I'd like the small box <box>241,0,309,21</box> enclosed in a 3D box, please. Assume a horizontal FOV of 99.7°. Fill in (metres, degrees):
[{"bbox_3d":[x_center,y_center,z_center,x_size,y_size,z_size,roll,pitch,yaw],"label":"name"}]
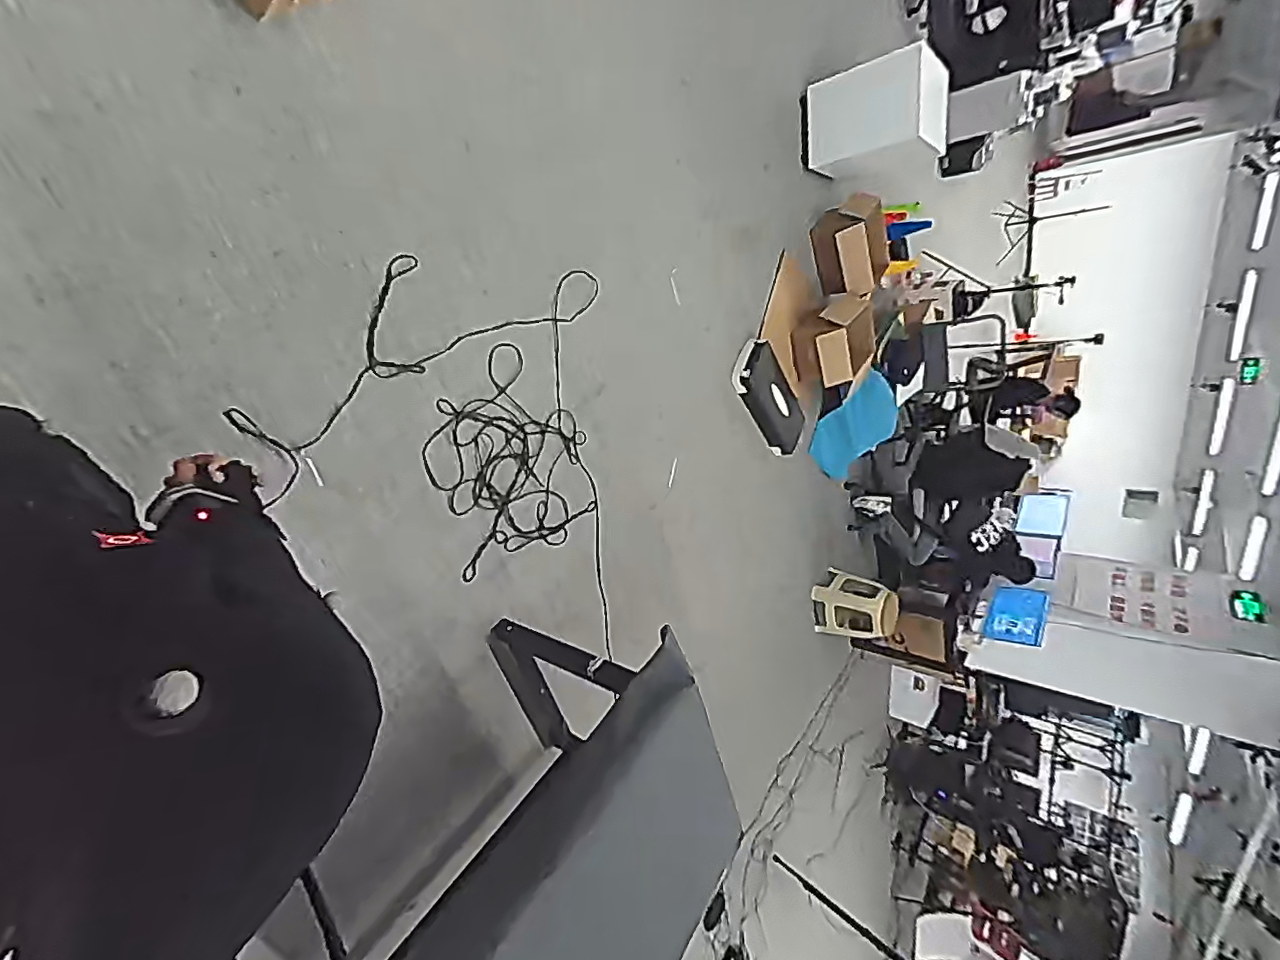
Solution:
[{"bbox_3d":[-0.731,-1.056,1.051,0.168,0.176,0.179,-59,135,-27],"label":"small box"}]
